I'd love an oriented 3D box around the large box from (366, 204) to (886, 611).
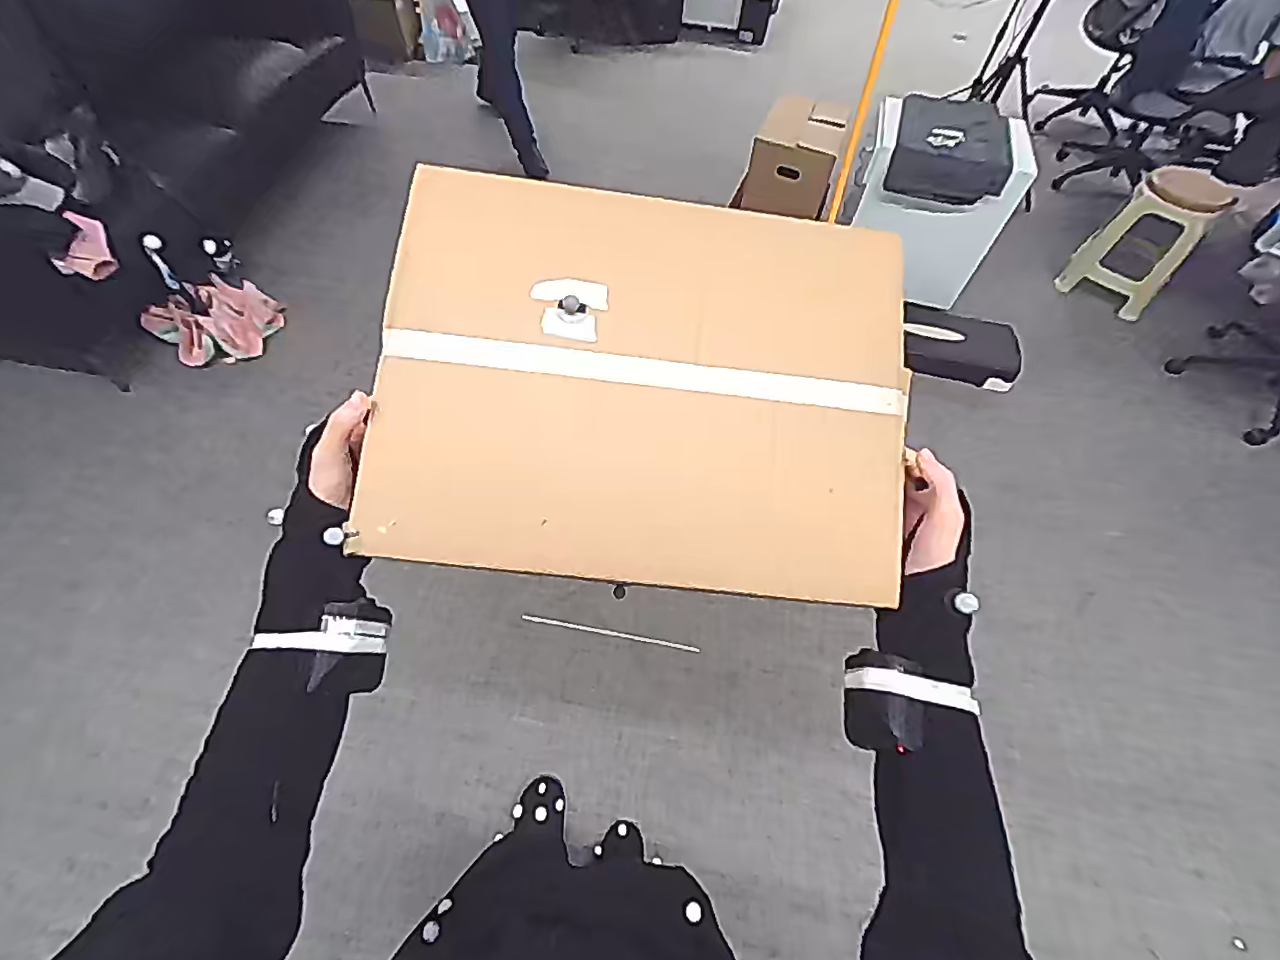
[{"bbox_3d":[-0.003,-0.041,0.583,0.408,0.320,0.320,6,79,-3],"label":"large box"}]
